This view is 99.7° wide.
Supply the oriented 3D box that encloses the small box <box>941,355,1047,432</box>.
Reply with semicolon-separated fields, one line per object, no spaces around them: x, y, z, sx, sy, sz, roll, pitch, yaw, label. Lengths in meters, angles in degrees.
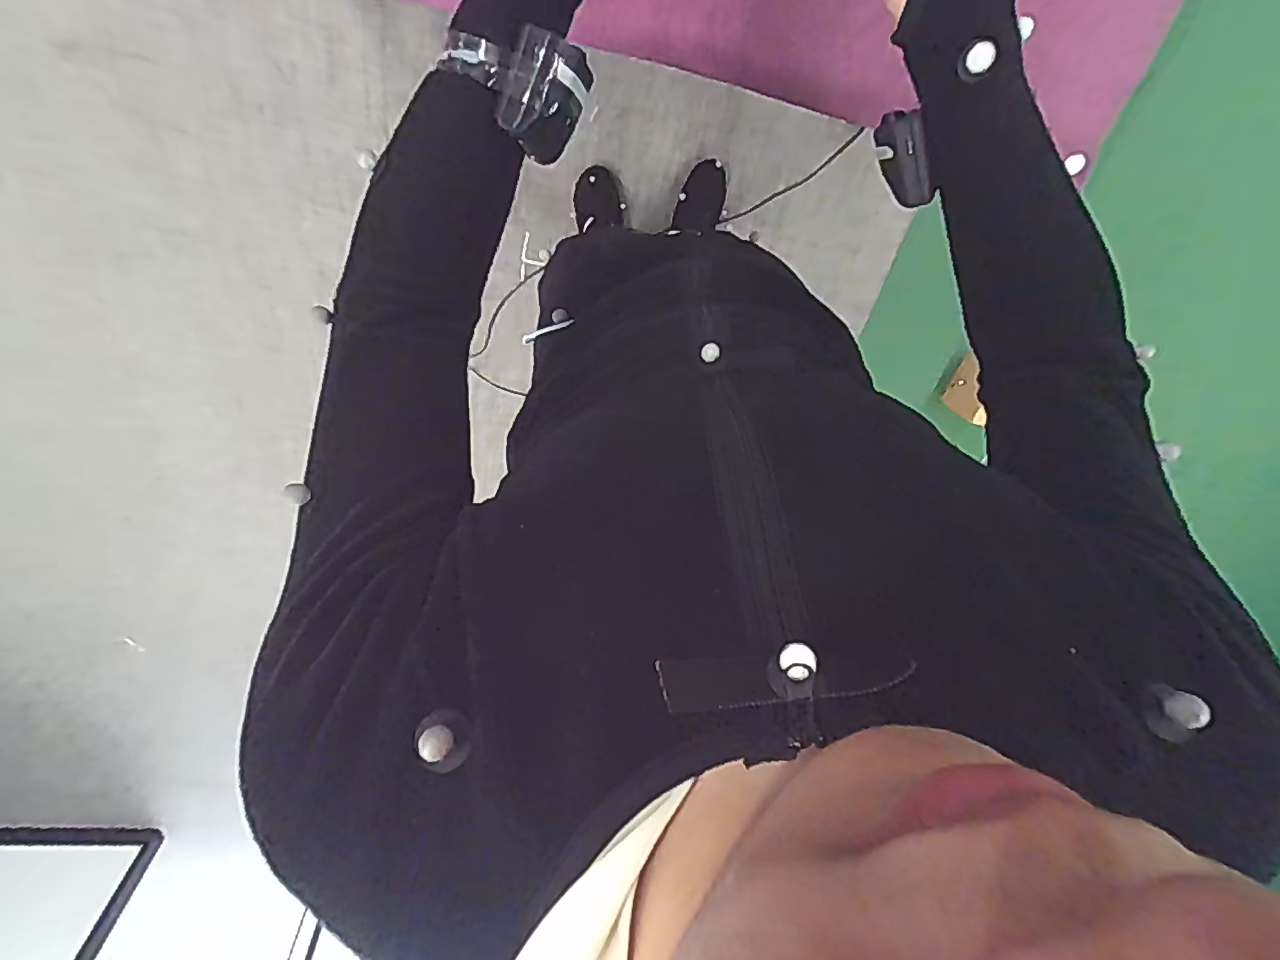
1.081;-0.270;1.668;0.179;0.176;0.168;9;121;-12;small box
